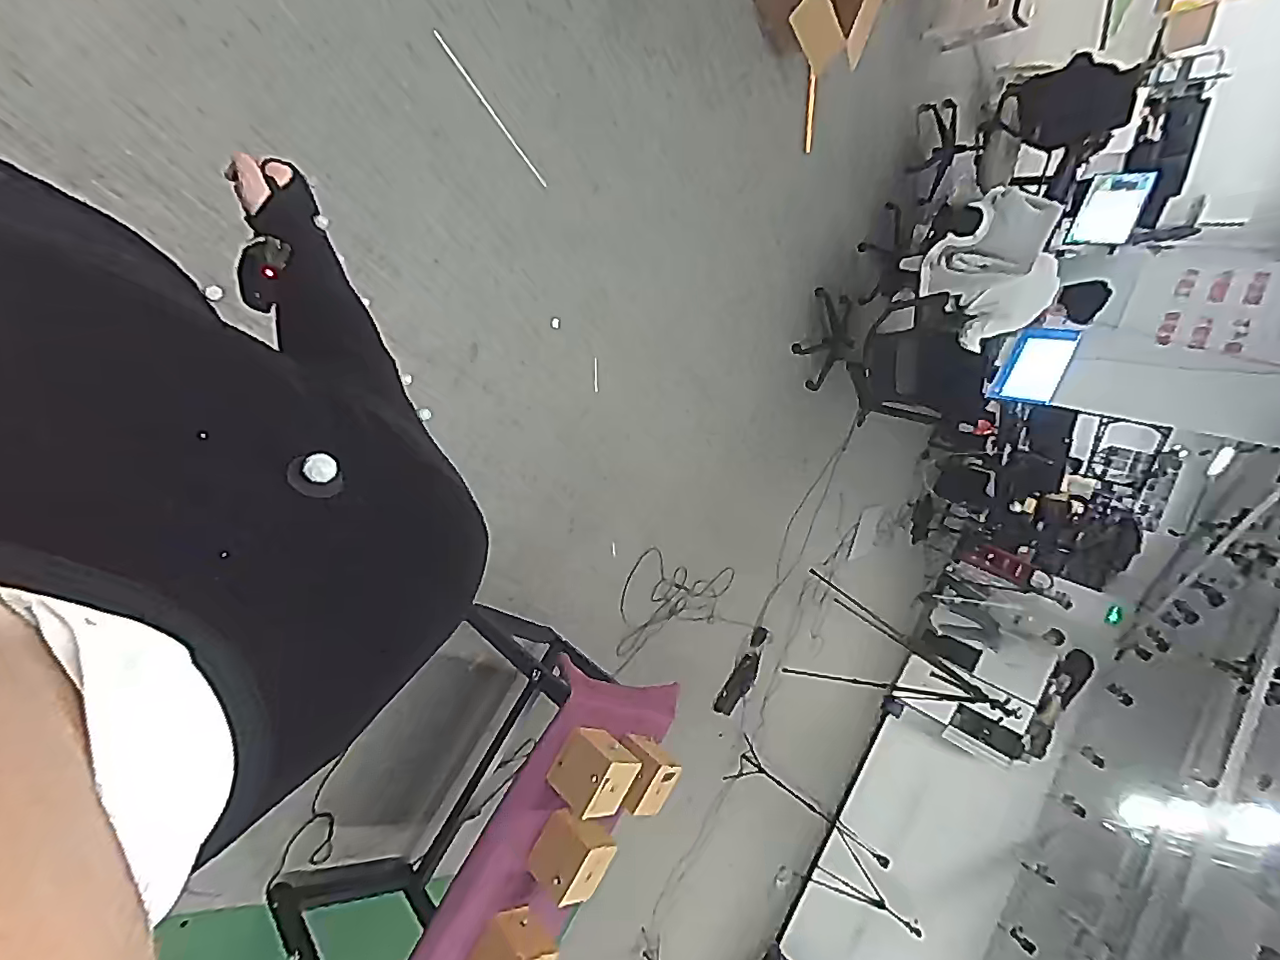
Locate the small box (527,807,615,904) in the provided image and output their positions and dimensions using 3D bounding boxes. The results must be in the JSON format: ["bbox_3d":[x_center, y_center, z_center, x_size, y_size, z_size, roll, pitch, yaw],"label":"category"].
[{"bbox_3d":[-0.217,1.139,1.653,0.179,0.176,0.168,-58,141,-10],"label":"small box"}]

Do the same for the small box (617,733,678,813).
[{"bbox_3d":[-0.007,0.980,1.813,0.179,0.176,0.168,-58,140,-9],"label":"small box"}]

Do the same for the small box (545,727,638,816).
[{"bbox_3d":[-0.143,0.851,1.591,0.168,0.176,0.179,-60,142,-8],"label":"small box"}]

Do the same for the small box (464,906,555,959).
[{"bbox_3d":[-0.392,1.412,1.593,0.179,0.176,0.168,-59,141,-11],"label":"small box"}]
